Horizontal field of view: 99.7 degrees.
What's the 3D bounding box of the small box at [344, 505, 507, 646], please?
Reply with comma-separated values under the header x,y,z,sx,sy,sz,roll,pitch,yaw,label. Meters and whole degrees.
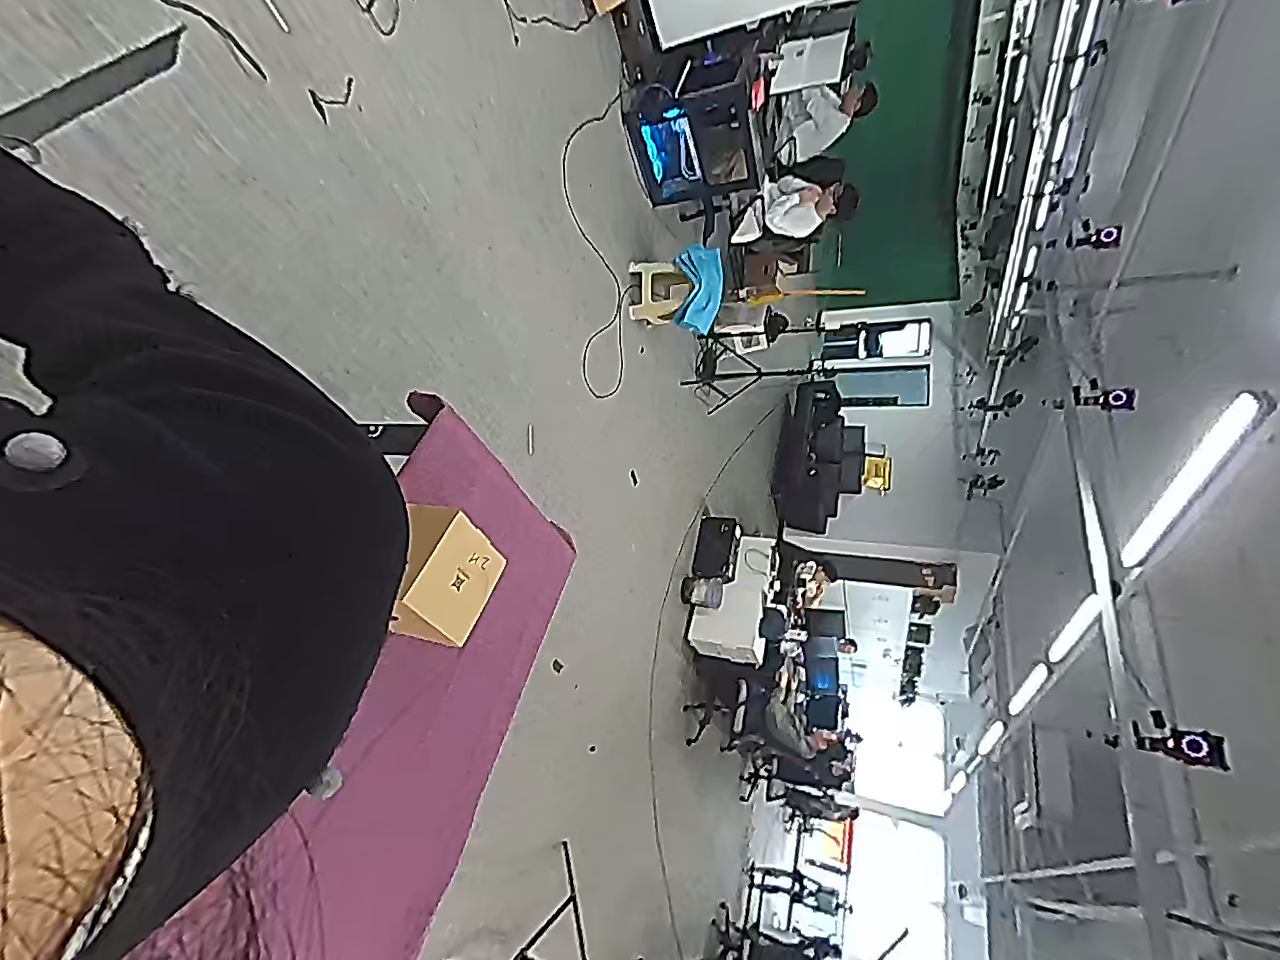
x,y,z,sx,sy,sz,roll,pitch,yaw,label
-0.371,0.160,0.938,0.168,0.176,0.179,65,36,-45,small box
